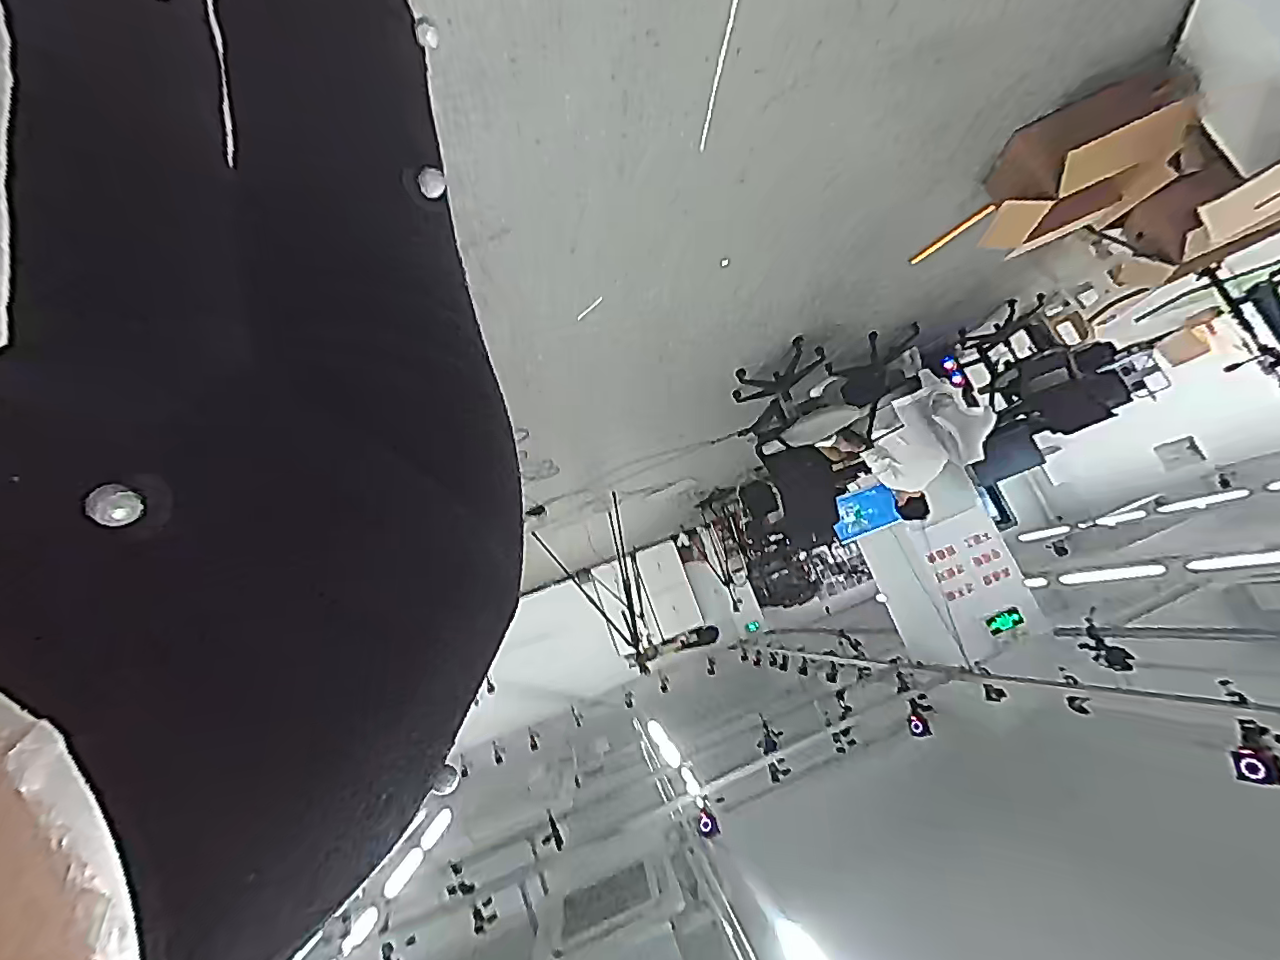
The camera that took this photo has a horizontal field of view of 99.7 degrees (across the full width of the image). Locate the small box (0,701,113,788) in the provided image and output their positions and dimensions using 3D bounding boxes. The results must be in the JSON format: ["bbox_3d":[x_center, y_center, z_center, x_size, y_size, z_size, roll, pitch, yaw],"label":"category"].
[{"bbox_3d":[-1.756,0.782,1.624,0.168,0.176,0.179,-21,170,-13],"label":"small box"}]
